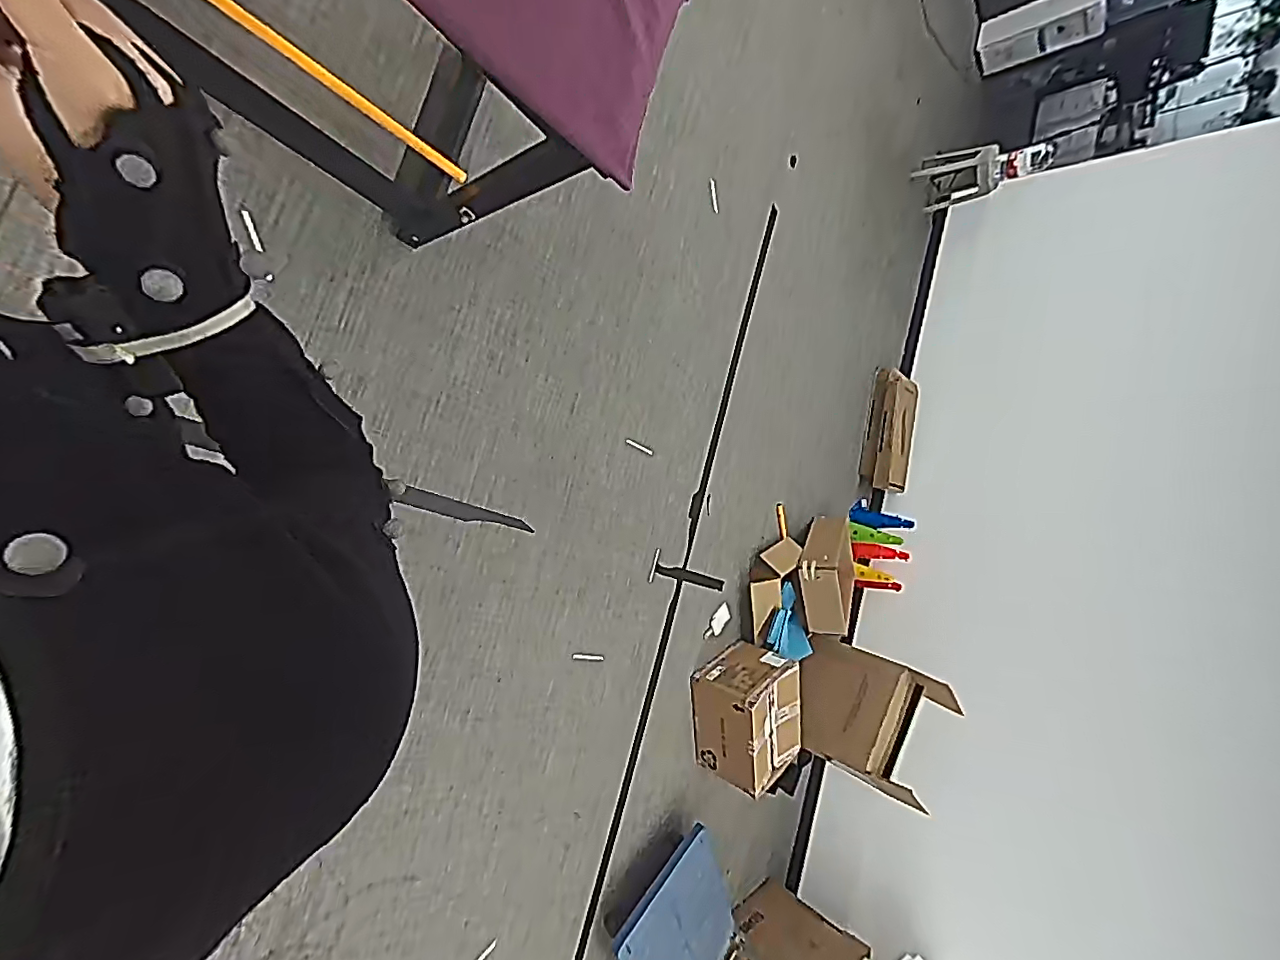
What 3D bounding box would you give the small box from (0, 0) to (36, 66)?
[{"bbox_3d":[-0.351,-0.279,0.182,0.179,0.176,0.168,-8,106,-38],"label":"small box"}]
